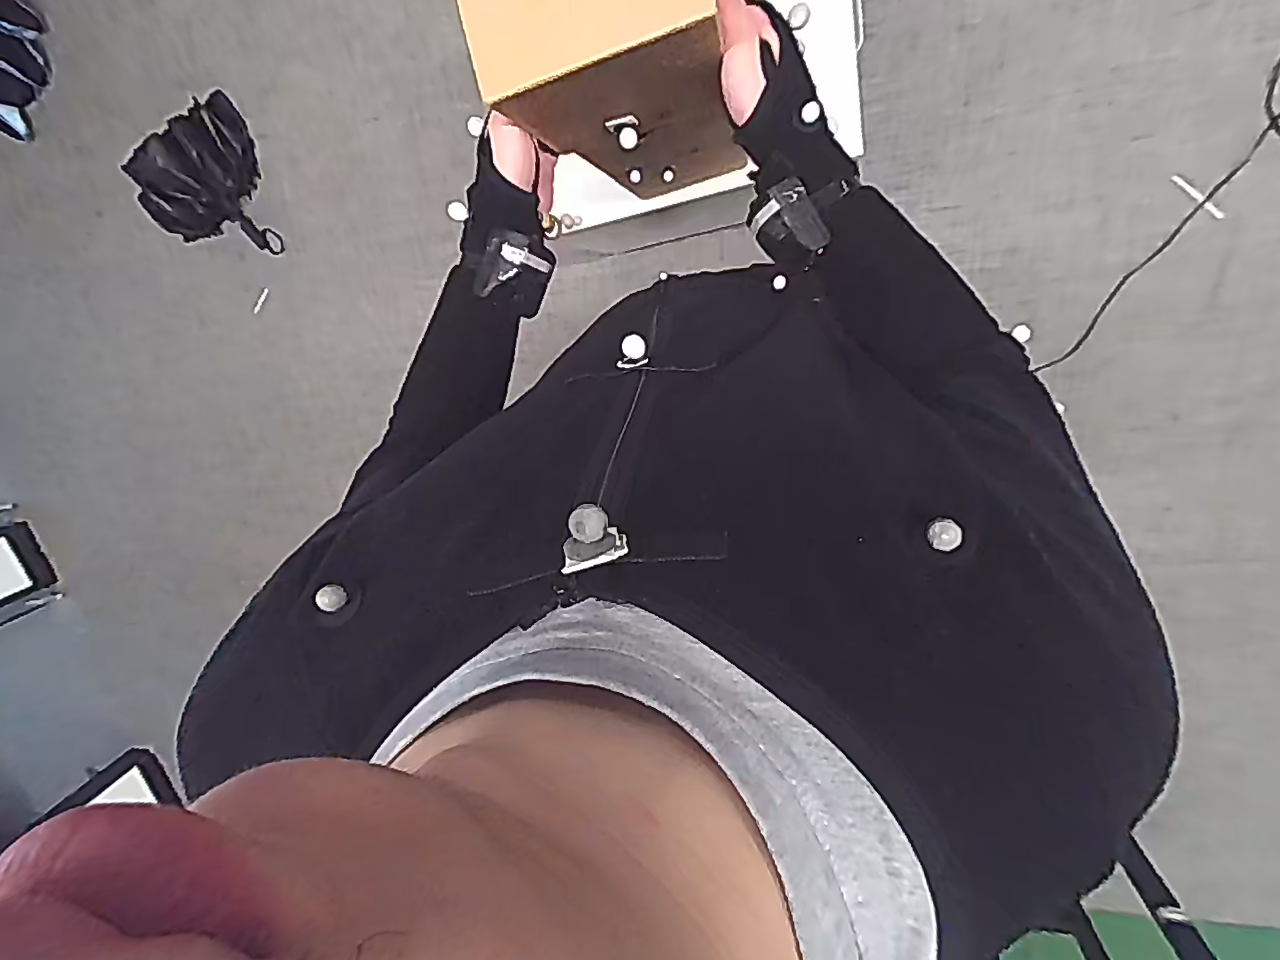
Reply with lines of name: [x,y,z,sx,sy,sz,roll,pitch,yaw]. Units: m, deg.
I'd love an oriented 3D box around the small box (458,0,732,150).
small box: [-0.031,-0.380,0.398,0.168,0.176,0.179,-9,106,17]

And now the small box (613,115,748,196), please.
small box: [0.042,-0.495,0.698,0.168,0.176,0.179,-11,106,17]

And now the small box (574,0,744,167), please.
small box: [0.008,-0.440,0.547,0.168,0.176,0.179,-10,106,16]
